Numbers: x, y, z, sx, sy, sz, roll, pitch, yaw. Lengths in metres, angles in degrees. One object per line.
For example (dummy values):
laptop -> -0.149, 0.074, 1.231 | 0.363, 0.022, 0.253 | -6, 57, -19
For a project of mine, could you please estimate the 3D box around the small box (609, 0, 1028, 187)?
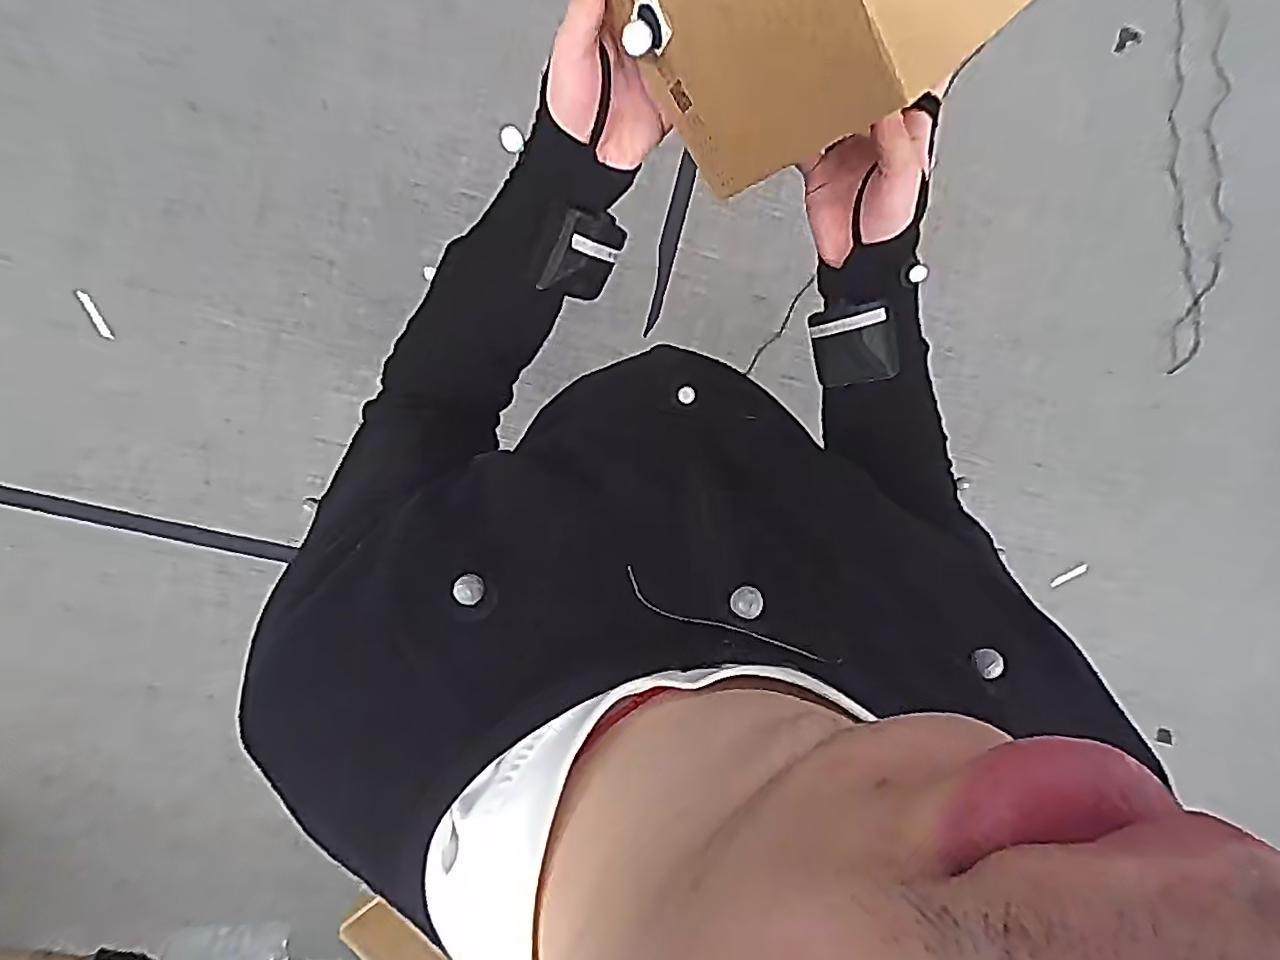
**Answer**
small box -> 0.096, -0.282, 0.261 | 0.179, 0.176, 0.168 | -41, 112, -3
